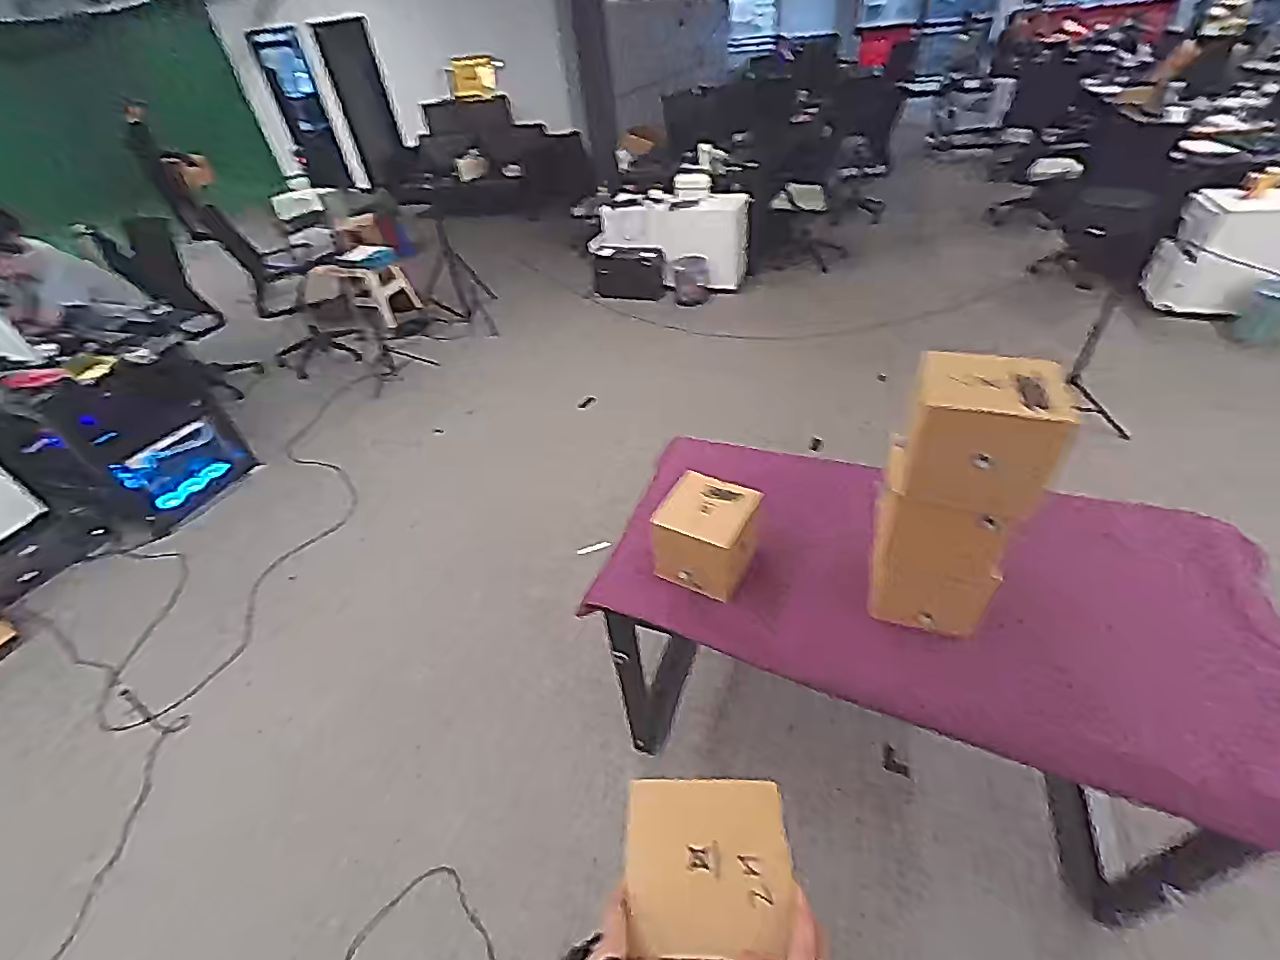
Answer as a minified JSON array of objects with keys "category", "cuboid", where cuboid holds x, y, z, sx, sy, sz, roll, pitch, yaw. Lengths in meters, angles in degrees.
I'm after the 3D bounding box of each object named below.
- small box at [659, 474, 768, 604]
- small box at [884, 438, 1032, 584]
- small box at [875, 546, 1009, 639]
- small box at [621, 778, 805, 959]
[{"category":"small box","cuboid":[0.153,0.121,1.128,0.168,0.176,0.179,18,46,27]},{"category":"small box","cuboid":[0.515,0.051,0.905,0.179,0.176,0.168,9,42,18]},{"category":"small box","cuboid":[0.552,0.173,1.010,0.179,0.176,0.168,9,41,18]},{"category":"small box","cuboid":[0.078,0.466,0.614,0.179,0.176,0.168,0,36,5]}]
